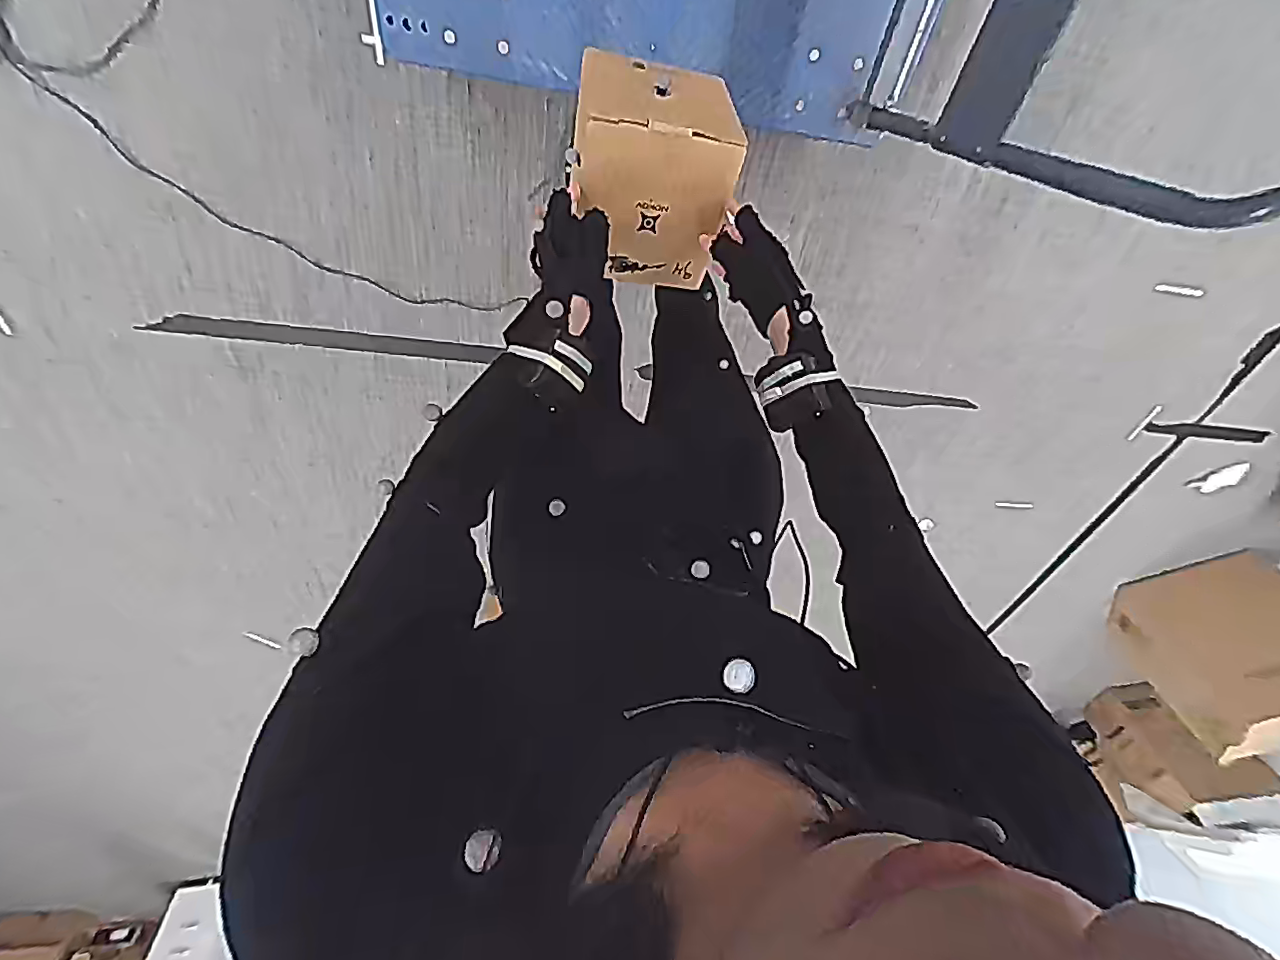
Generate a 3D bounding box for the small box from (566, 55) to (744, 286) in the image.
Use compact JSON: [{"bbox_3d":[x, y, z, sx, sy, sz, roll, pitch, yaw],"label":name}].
[{"bbox_3d":[0.003,-0.363,0.642,0.168,0.176,0.179,4,144,-12],"label":"small box"}]
